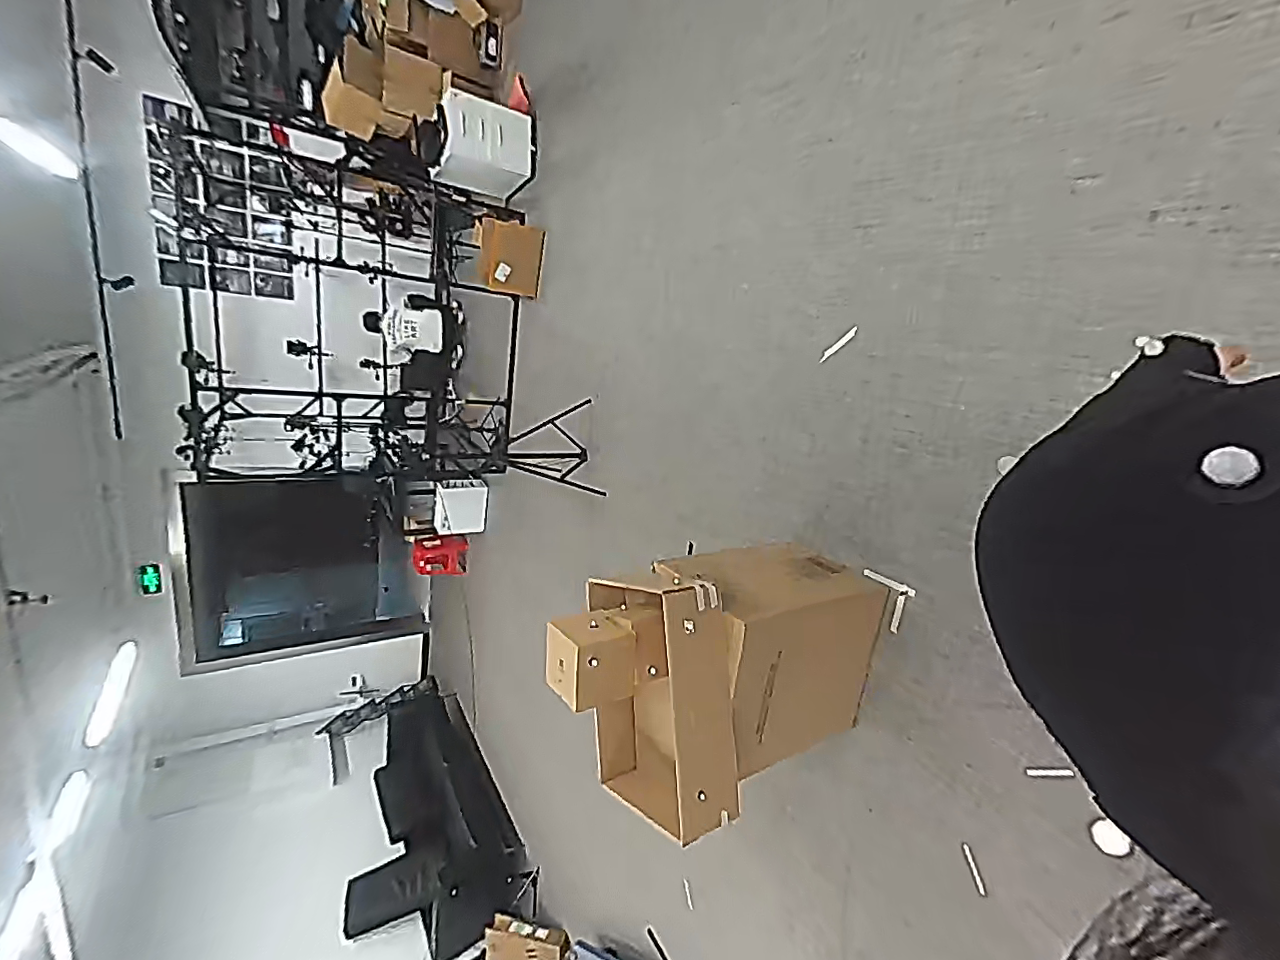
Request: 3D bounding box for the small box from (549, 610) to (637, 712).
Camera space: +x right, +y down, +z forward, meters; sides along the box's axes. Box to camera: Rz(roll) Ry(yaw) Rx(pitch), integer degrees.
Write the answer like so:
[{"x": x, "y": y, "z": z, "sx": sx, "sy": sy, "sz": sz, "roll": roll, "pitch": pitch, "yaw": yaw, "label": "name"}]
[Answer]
[{"x": -0.120, "y": 0.450, "z": 1.381, "sx": 0.168, "sy": 0.176, "sz": 0.179, "roll": 16, "pitch": 107, "yaw": 54, "label": "small box"}]
